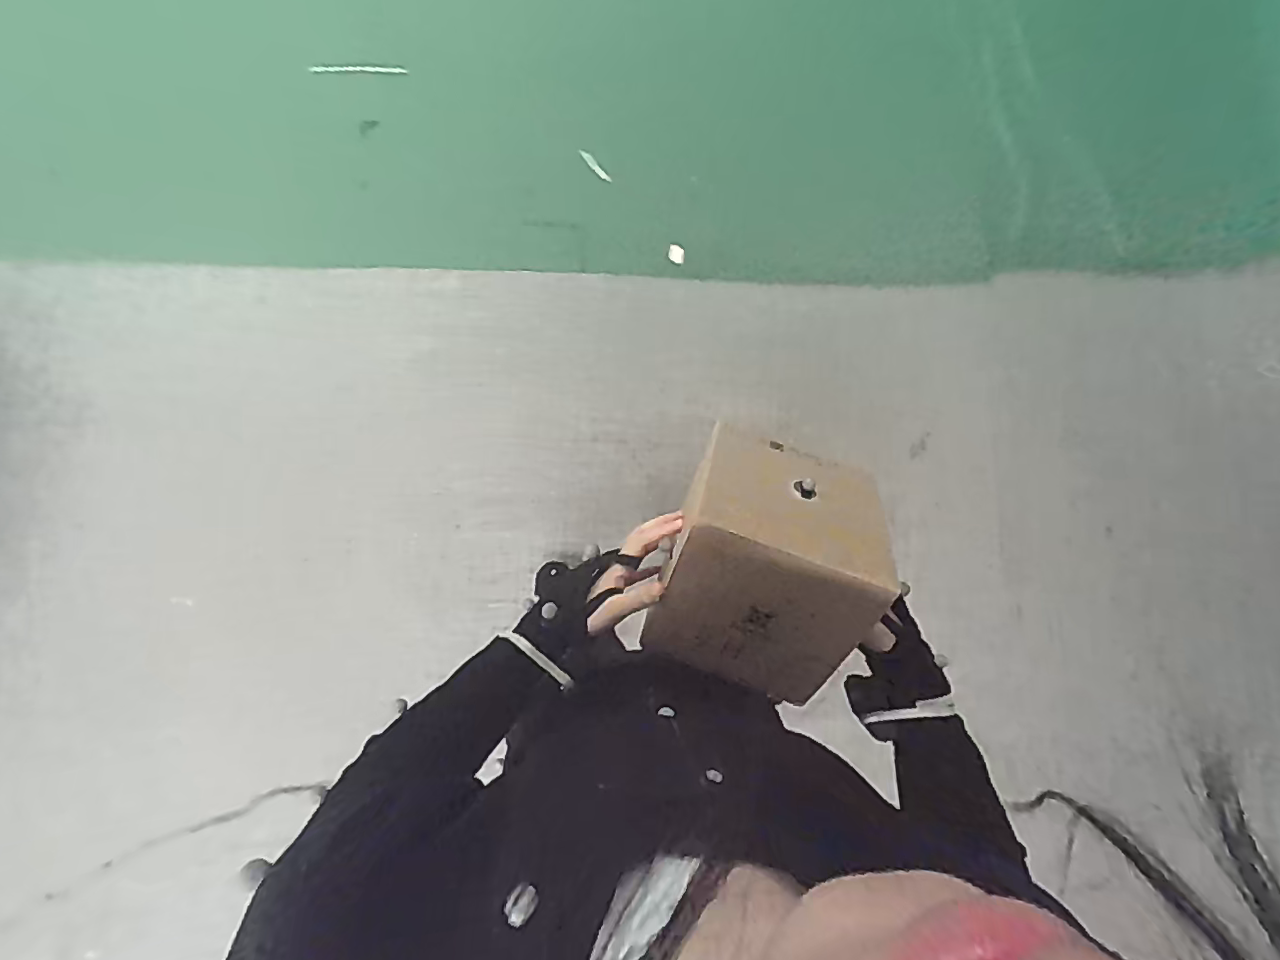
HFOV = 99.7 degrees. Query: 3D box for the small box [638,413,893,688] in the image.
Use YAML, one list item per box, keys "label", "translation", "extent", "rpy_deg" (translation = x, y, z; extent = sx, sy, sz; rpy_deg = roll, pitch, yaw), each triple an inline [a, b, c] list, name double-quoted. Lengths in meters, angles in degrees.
- label: "small box"
  translation: [0.111, 0.060, 0.525]
  extent: [0.168, 0.176, 0.179]
  rpy_deg: [19, 126, 1]
